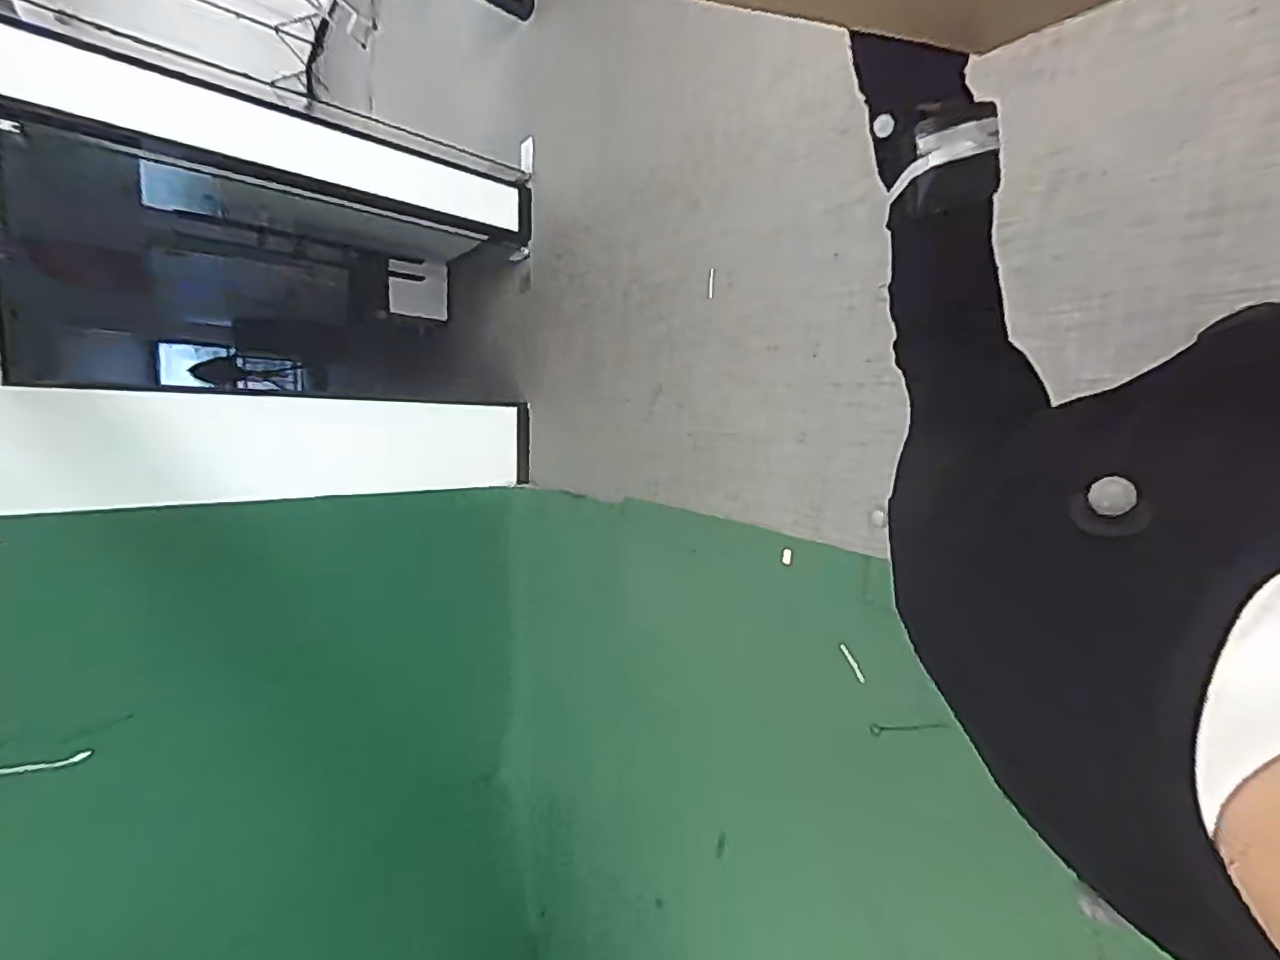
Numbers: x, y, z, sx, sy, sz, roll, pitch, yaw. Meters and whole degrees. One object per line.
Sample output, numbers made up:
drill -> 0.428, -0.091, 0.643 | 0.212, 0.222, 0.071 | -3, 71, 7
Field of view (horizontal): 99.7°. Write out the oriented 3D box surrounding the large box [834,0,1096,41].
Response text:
large box -> 0.208, -0.374, 0.102 | 0.408, 0.320, 0.320 | 20, 123, 55
